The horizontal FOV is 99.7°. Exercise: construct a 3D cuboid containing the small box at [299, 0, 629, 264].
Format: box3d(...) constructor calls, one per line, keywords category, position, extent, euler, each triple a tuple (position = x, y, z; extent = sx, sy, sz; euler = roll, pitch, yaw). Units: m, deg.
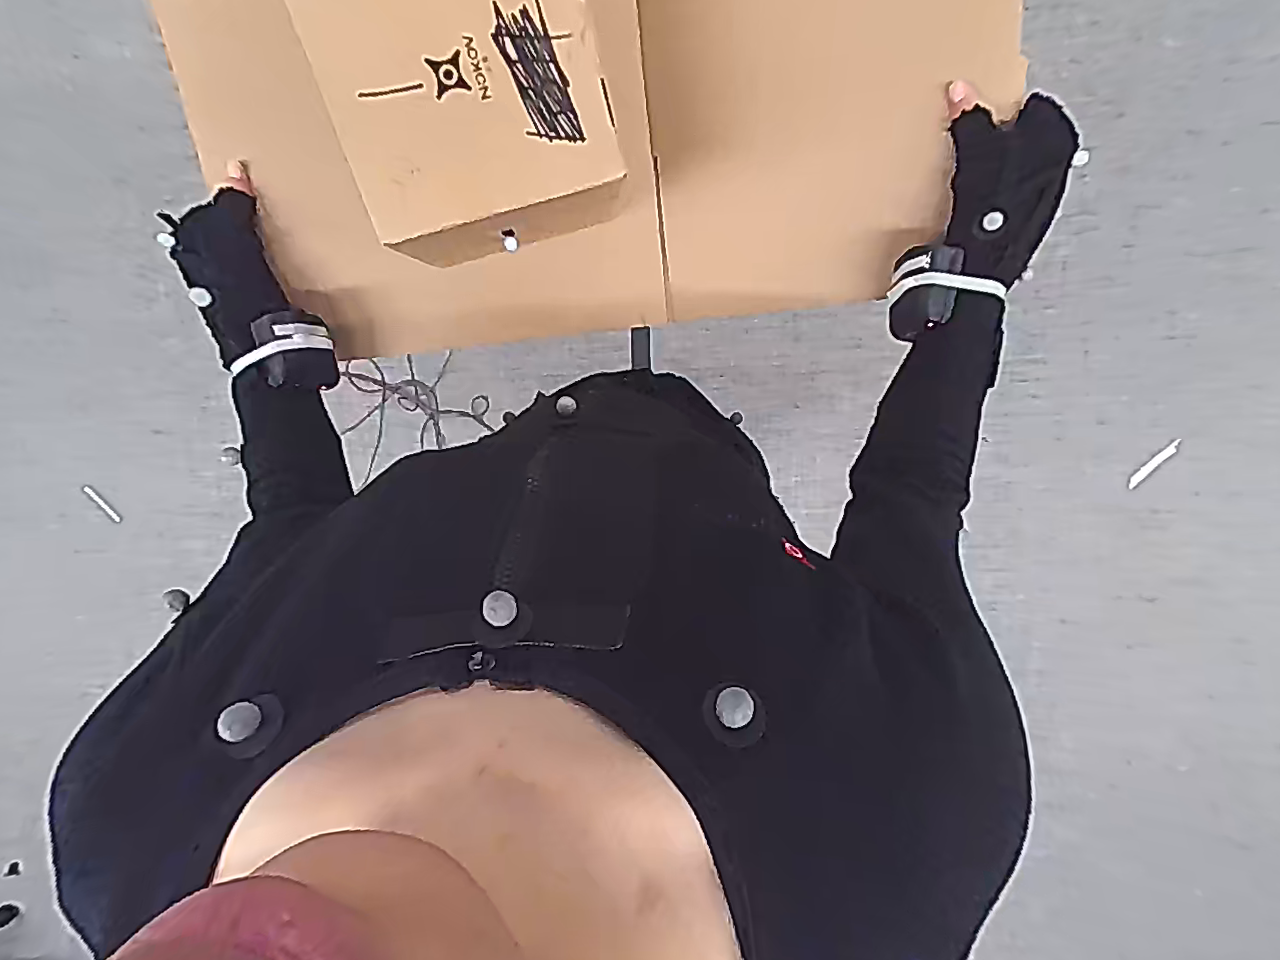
box3d(category="small box", position=(-0.120, -0.283, 0.430), extent=(0.179, 0.176, 0.168), euler=(-16, 107, -2))
